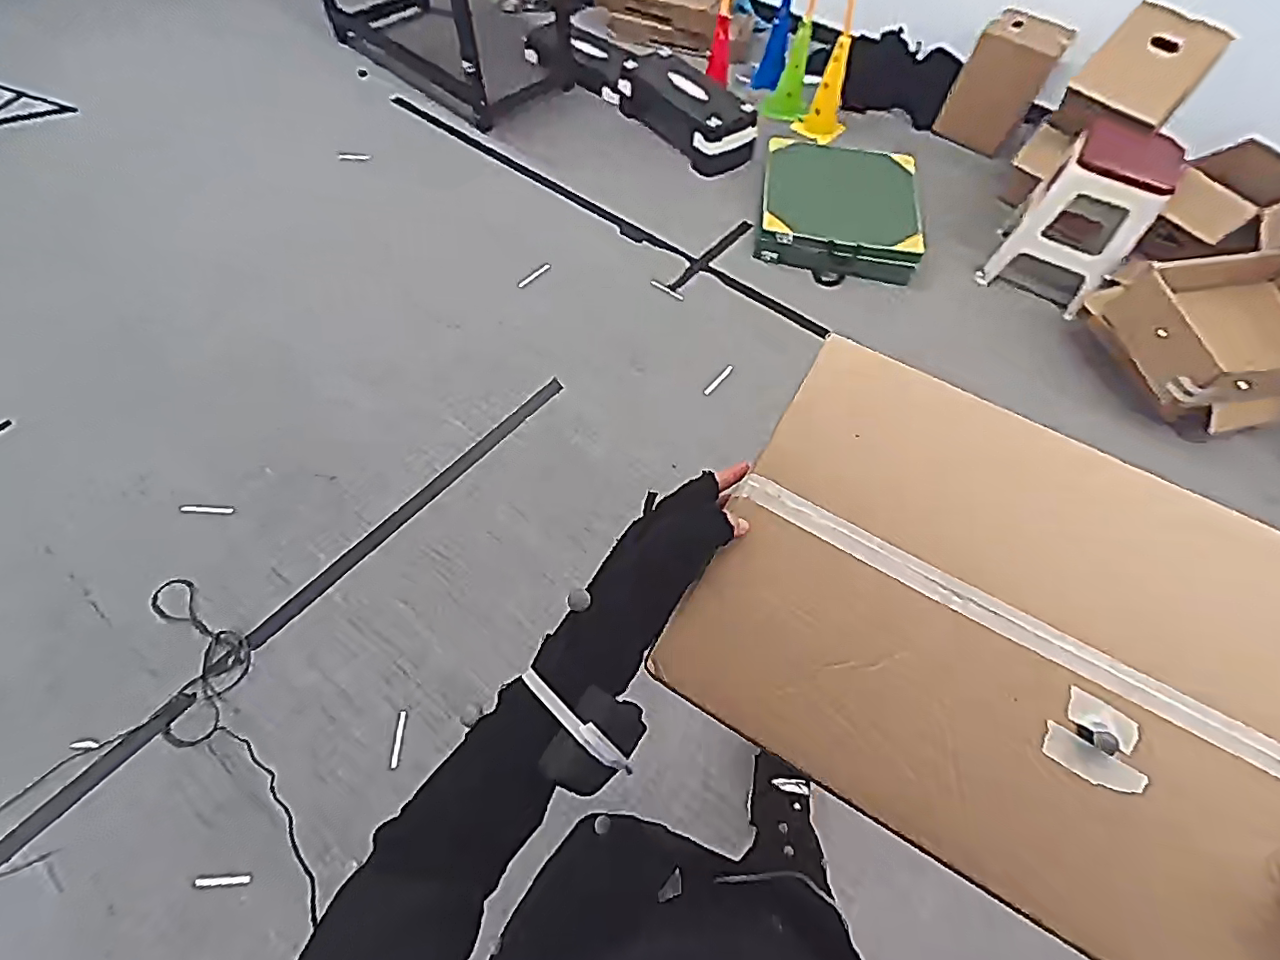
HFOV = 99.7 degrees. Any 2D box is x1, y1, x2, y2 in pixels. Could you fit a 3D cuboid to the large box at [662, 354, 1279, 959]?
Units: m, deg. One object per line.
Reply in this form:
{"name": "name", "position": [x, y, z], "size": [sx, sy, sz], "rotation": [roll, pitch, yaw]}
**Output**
{"name": "large box", "position": [0.264, 0.151, 0.529], "size": [0.408, 0.320, 0.320], "rotation": [29, 75, 12]}
